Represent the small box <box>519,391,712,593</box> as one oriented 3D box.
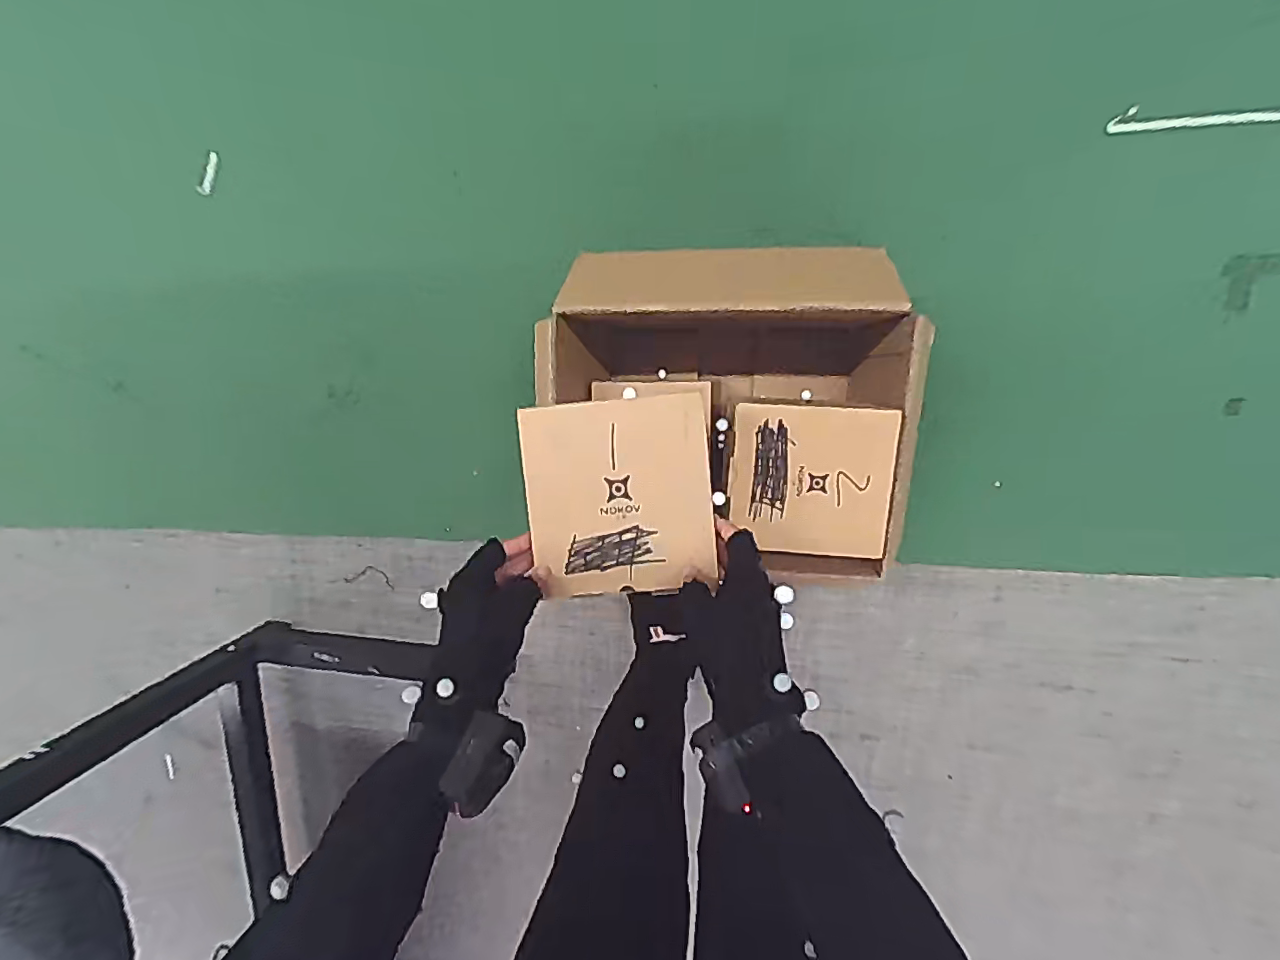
[{"bbox_3d":[-0.012,0.005,0.558,0.168,0.176,0.179,-4,95,6],"label":"small box"}]
